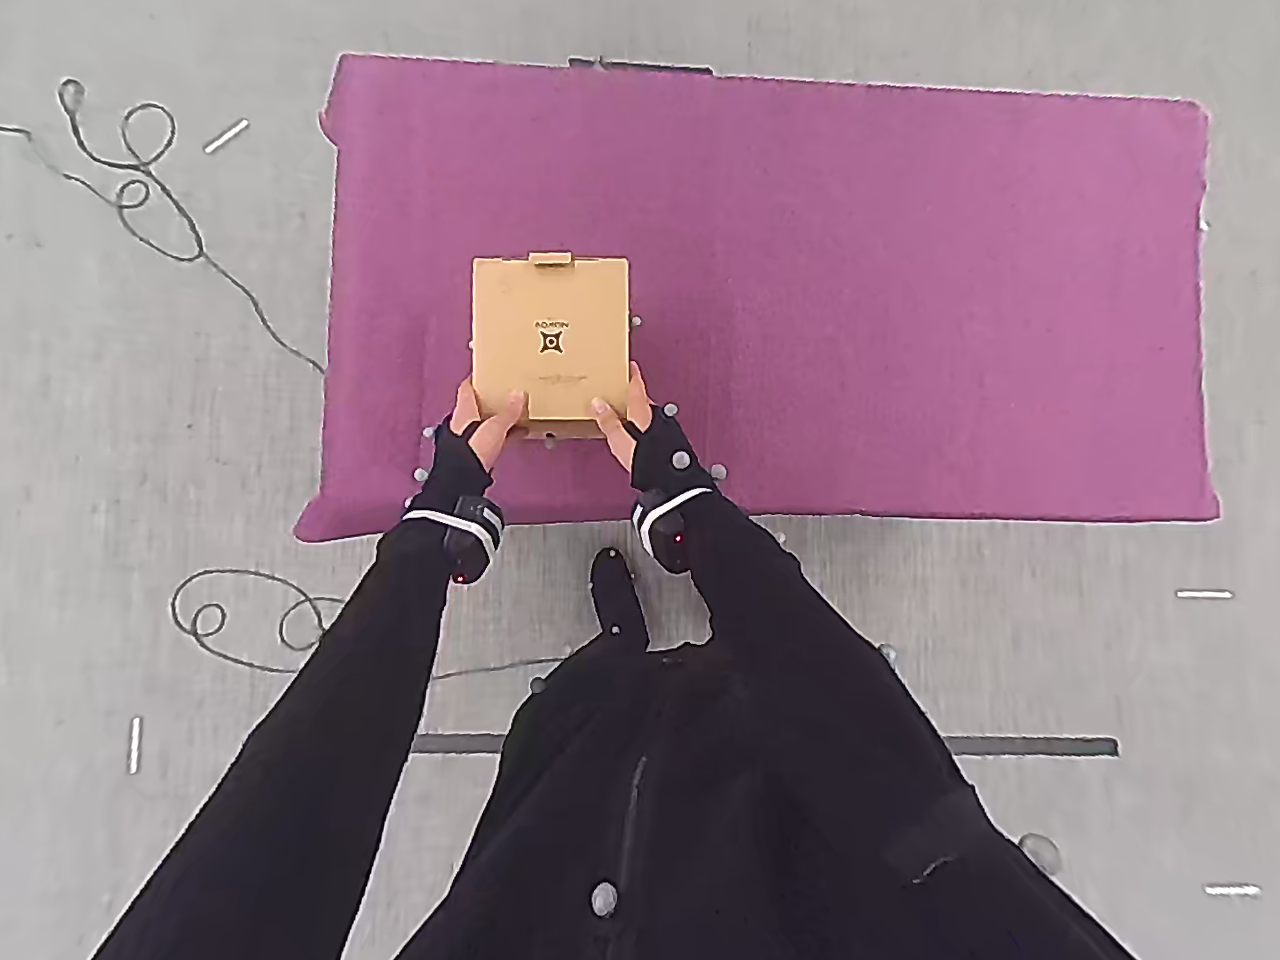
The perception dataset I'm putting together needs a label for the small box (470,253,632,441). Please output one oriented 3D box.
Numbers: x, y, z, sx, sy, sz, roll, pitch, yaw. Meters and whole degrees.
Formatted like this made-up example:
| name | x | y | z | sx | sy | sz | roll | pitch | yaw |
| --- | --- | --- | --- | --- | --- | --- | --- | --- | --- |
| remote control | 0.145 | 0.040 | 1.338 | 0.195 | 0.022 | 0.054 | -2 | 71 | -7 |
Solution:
| name | x | y | z | sx | sy | sz | roll | pitch | yaw |
| --- | --- | --- | --- | --- | --- | --- | --- | --- | --- |
| small box | -0.095 | -0.144 | 0.641 | 0.168 | 0.176 | 0.179 | 0 | 87 | -2 |
